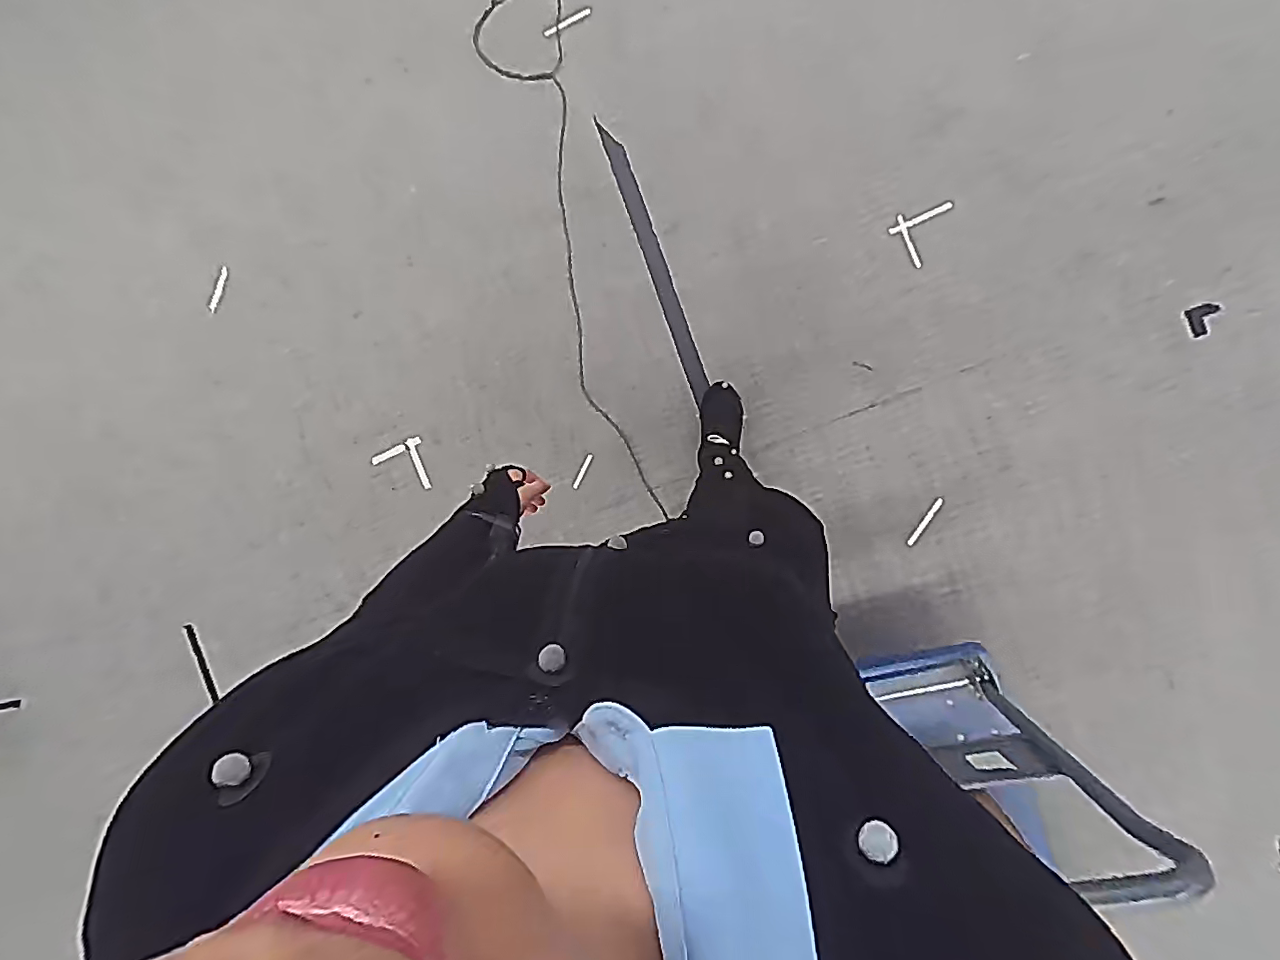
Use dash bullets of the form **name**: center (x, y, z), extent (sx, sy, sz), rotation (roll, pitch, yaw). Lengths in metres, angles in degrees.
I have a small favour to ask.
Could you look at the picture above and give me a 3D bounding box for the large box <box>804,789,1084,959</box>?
- **large box**: center (0.584, 0.879, 1.080), extent (0.408, 0.320, 0.320), rotation (-15, 90, 10)
